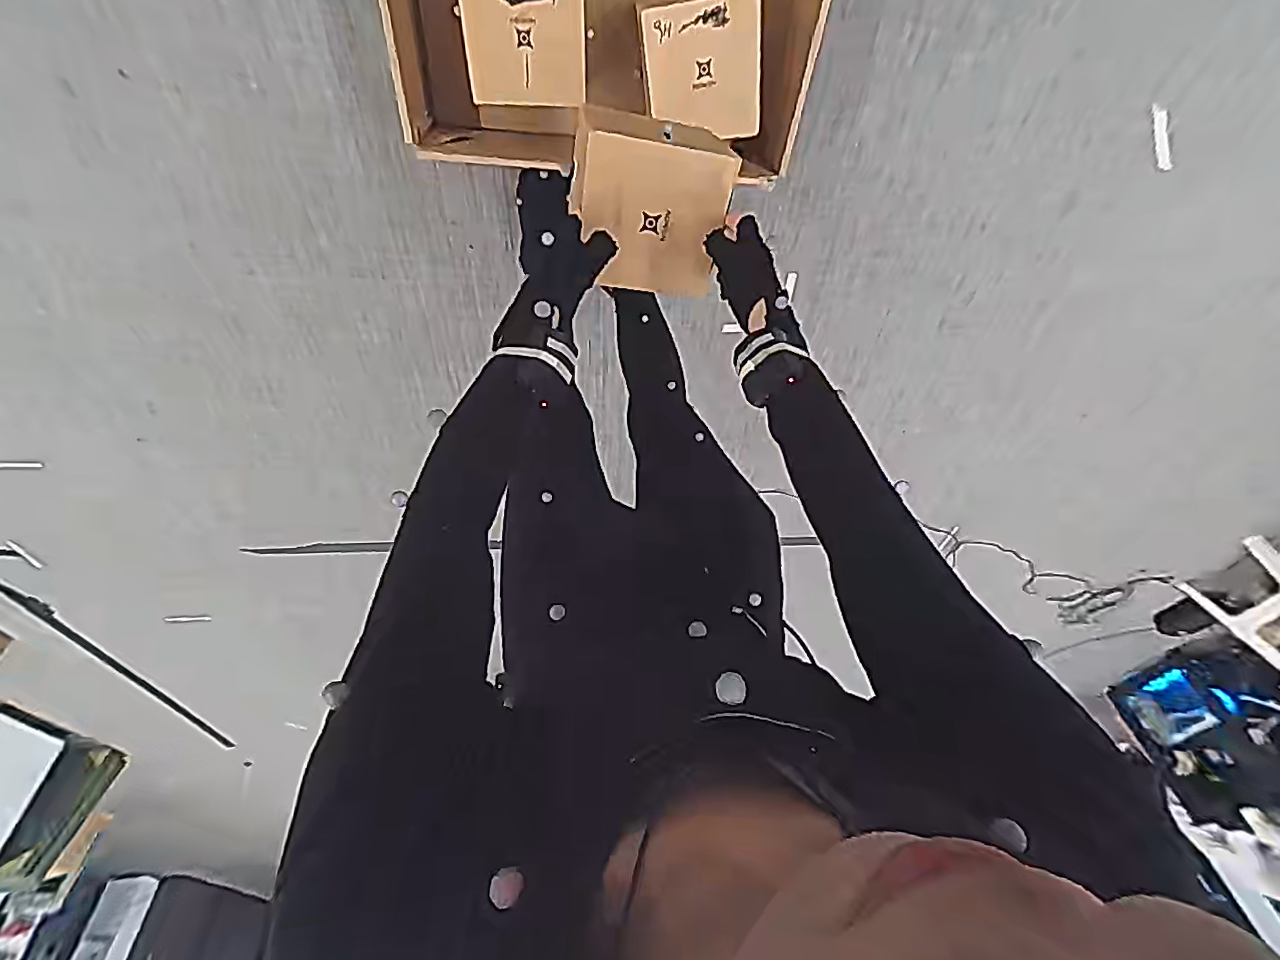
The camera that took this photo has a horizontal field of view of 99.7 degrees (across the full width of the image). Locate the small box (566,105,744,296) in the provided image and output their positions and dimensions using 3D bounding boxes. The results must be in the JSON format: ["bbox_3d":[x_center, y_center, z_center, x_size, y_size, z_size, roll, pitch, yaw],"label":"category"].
[{"bbox_3d":[0.005,-0.356,0.689,0.179,0.176,0.168,2,132,-14],"label":"small box"}]

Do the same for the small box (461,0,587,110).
[{"bbox_3d":[-0.164,-0.663,0.786,0.168,0.176,0.179,-2,136,-6],"label":"small box"}]
